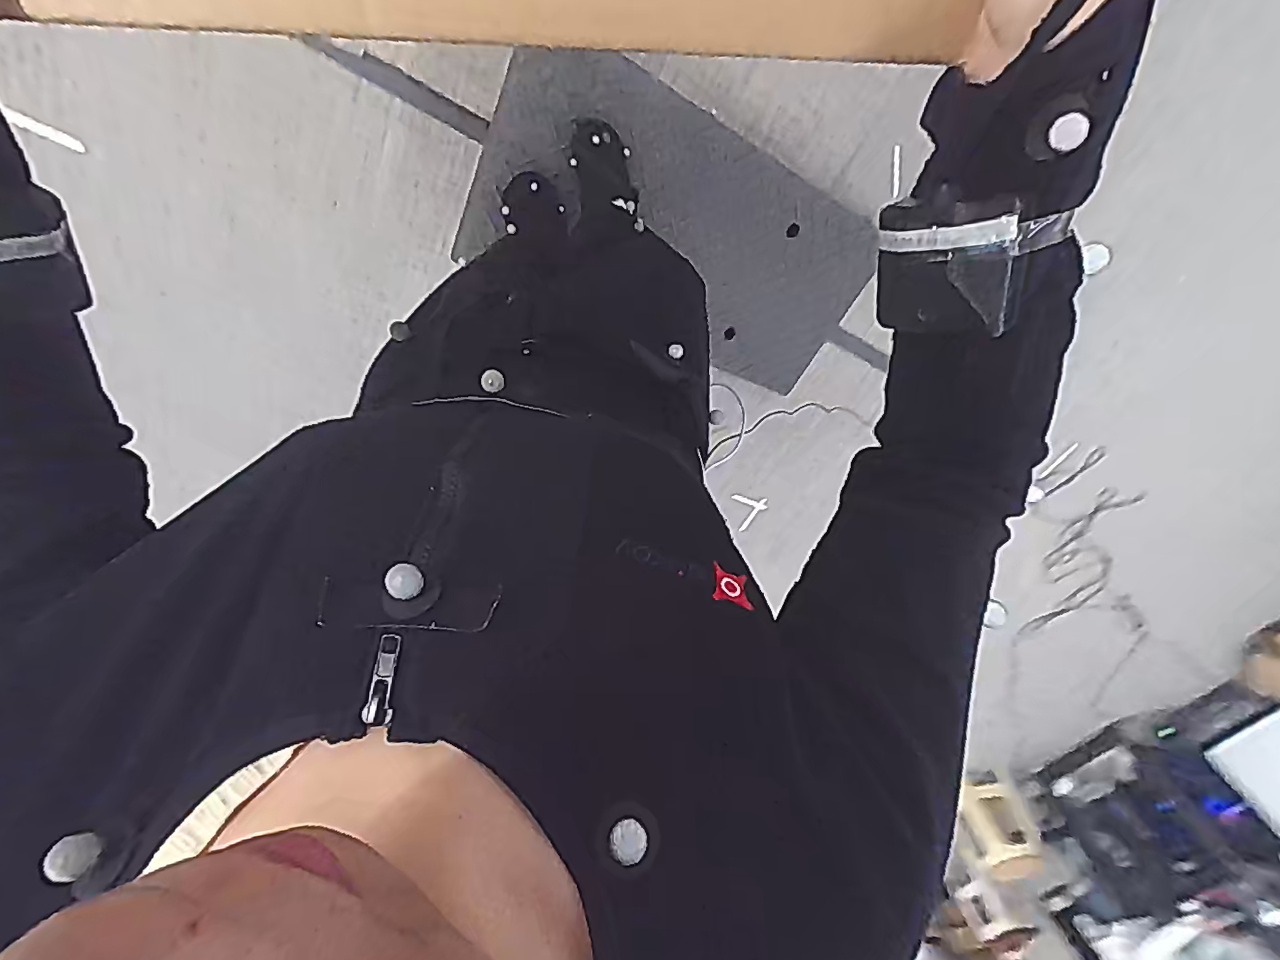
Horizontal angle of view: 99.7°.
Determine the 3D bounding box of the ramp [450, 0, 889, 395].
[{"bbox_3d":[0.121,-0.549,1.280,0.991,0.206,0.509,19,120,-19],"label":"ramp"}]
